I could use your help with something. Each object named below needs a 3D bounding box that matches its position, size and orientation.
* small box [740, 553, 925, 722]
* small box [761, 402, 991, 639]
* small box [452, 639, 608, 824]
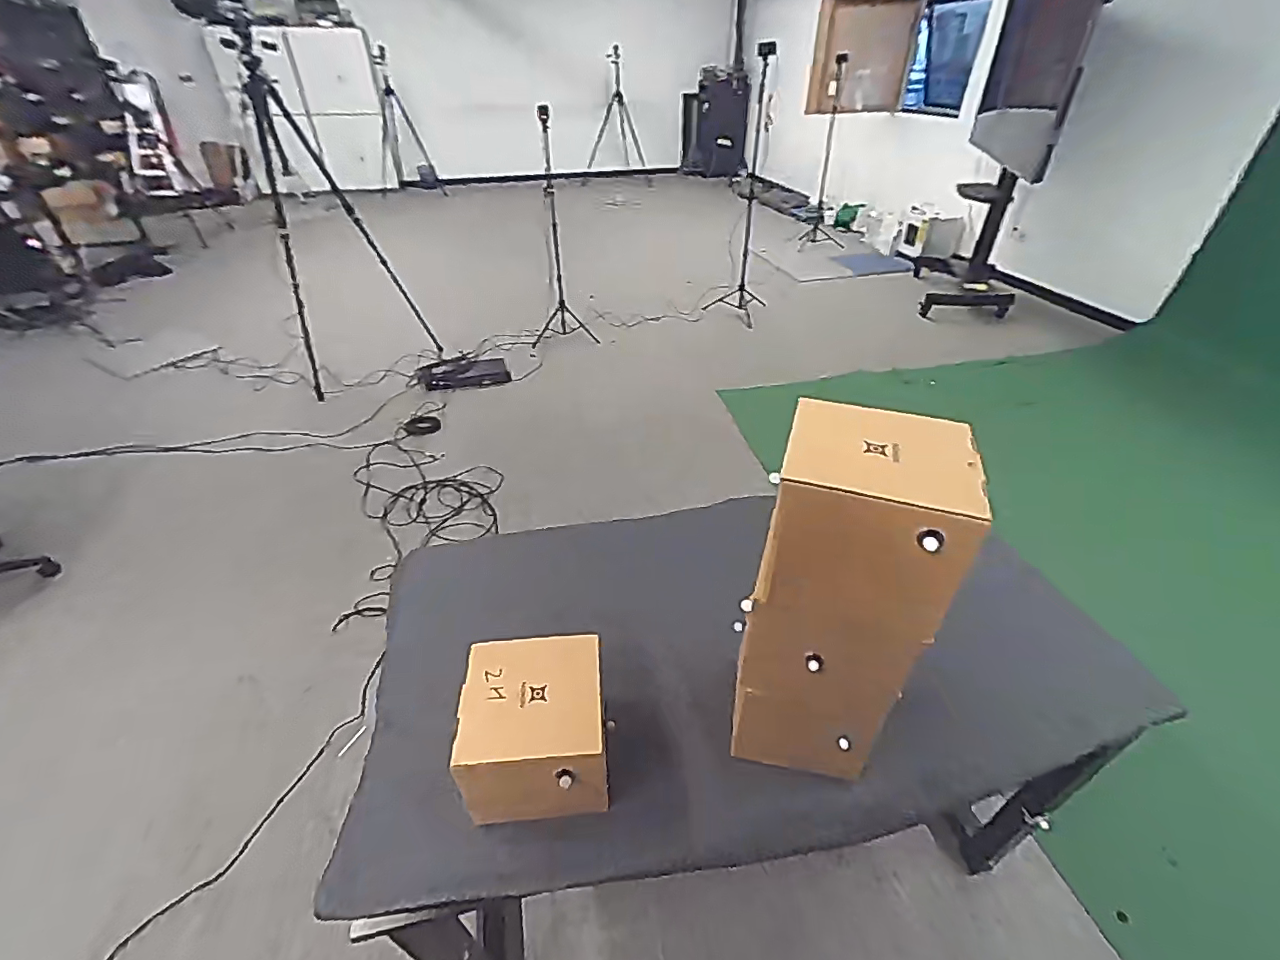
[{"bbox_3d":[0.231,0.168,0.668,0.179,0.176,0.168,11,39,17],"label":"small box"},{"bbox_3d":[0.232,0.039,0.568,0.179,0.176,0.168,12,38,16],"label":"small box"},{"bbox_3d":[-0.132,0.336,0.726,0.179,0.176,0.168,-4,38,-3],"label":"small box"}]
